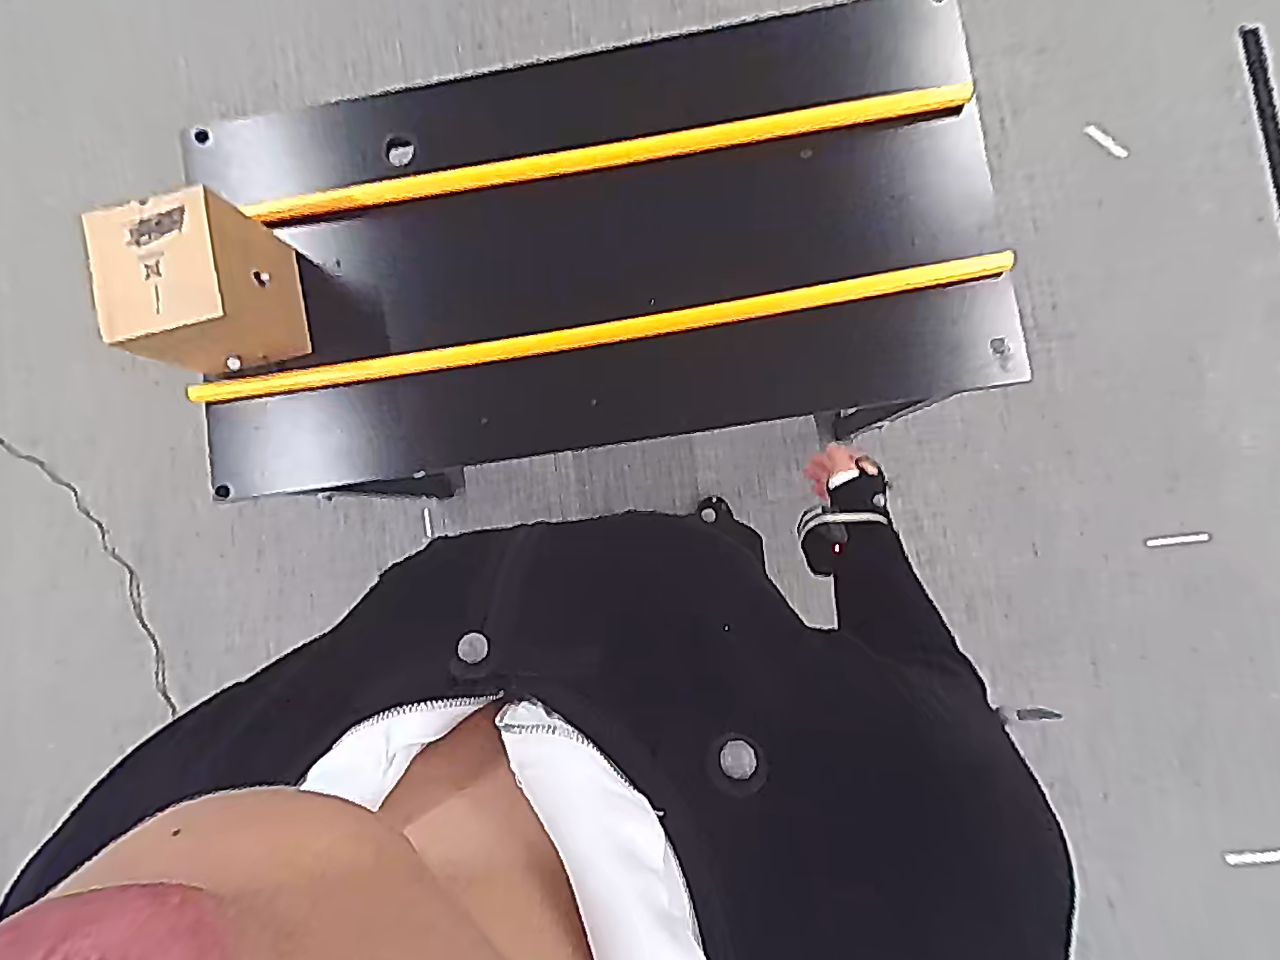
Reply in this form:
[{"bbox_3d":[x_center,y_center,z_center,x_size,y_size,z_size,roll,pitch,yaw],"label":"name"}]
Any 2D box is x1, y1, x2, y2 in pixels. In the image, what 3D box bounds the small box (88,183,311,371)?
[{"bbox_3d":[-0.600,-0.270,0.757,0.168,0.176,0.179,-12,87,3],"label":"small box"}]
